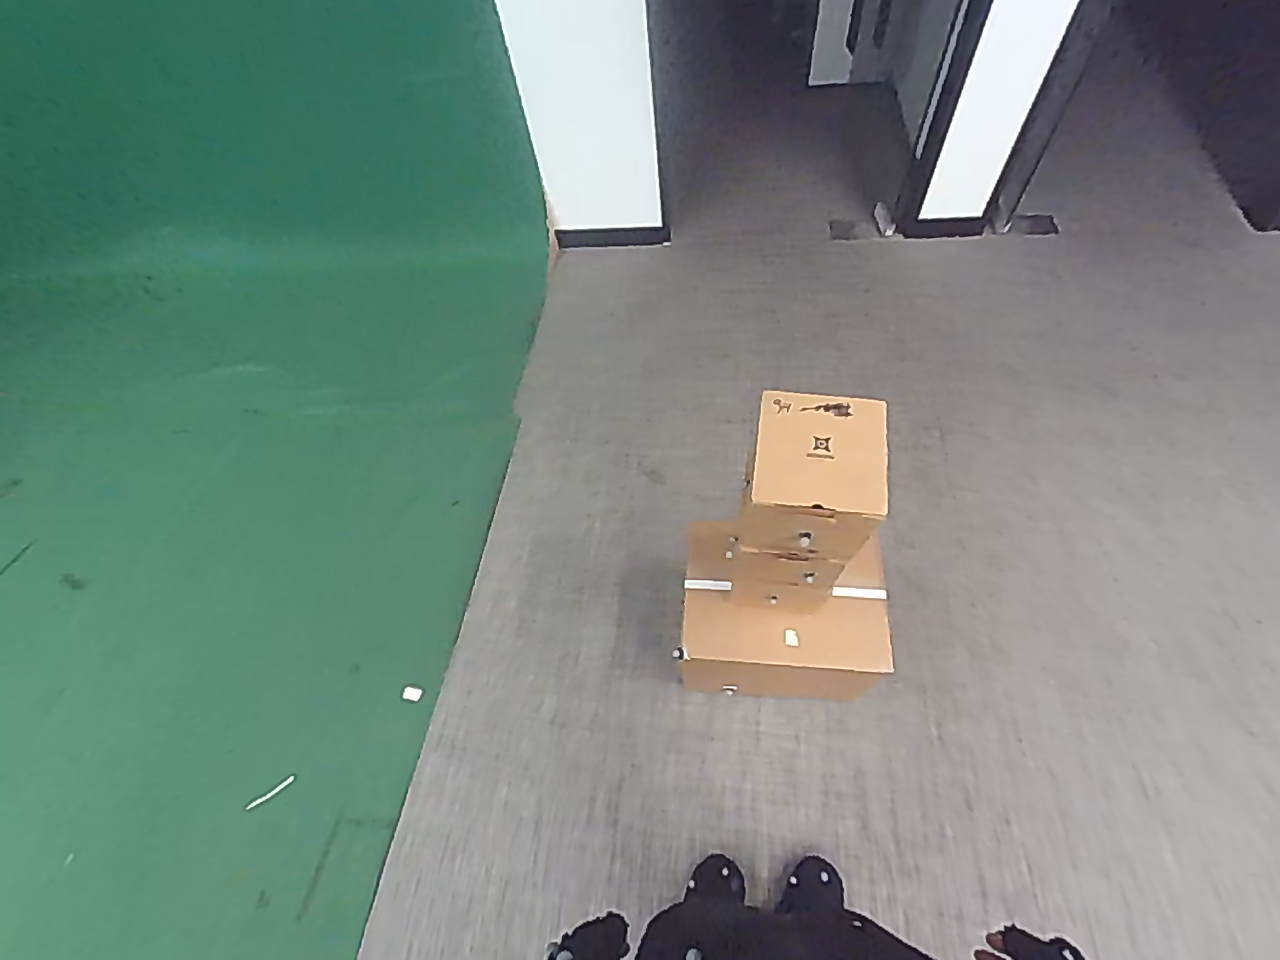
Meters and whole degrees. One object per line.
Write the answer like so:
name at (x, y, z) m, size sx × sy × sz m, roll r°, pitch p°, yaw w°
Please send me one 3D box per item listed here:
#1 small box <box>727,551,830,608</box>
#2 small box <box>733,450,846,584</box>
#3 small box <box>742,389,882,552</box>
small box at (0.273, 0.144, 1.067) m, size 0.179 × 0.176 × 0.168 m, roll 8°, pitch 64°, yaw 11°
small box at (0.251, 0.070, 0.928) m, size 0.168 × 0.176 × 0.179 m, roll 5°, pitch 63°, yaw 9°
small box at (0.242, -0.007, 0.784) m, size 0.168 × 0.176 × 0.179 m, roll 7°, pitch 65°, yaw 10°
